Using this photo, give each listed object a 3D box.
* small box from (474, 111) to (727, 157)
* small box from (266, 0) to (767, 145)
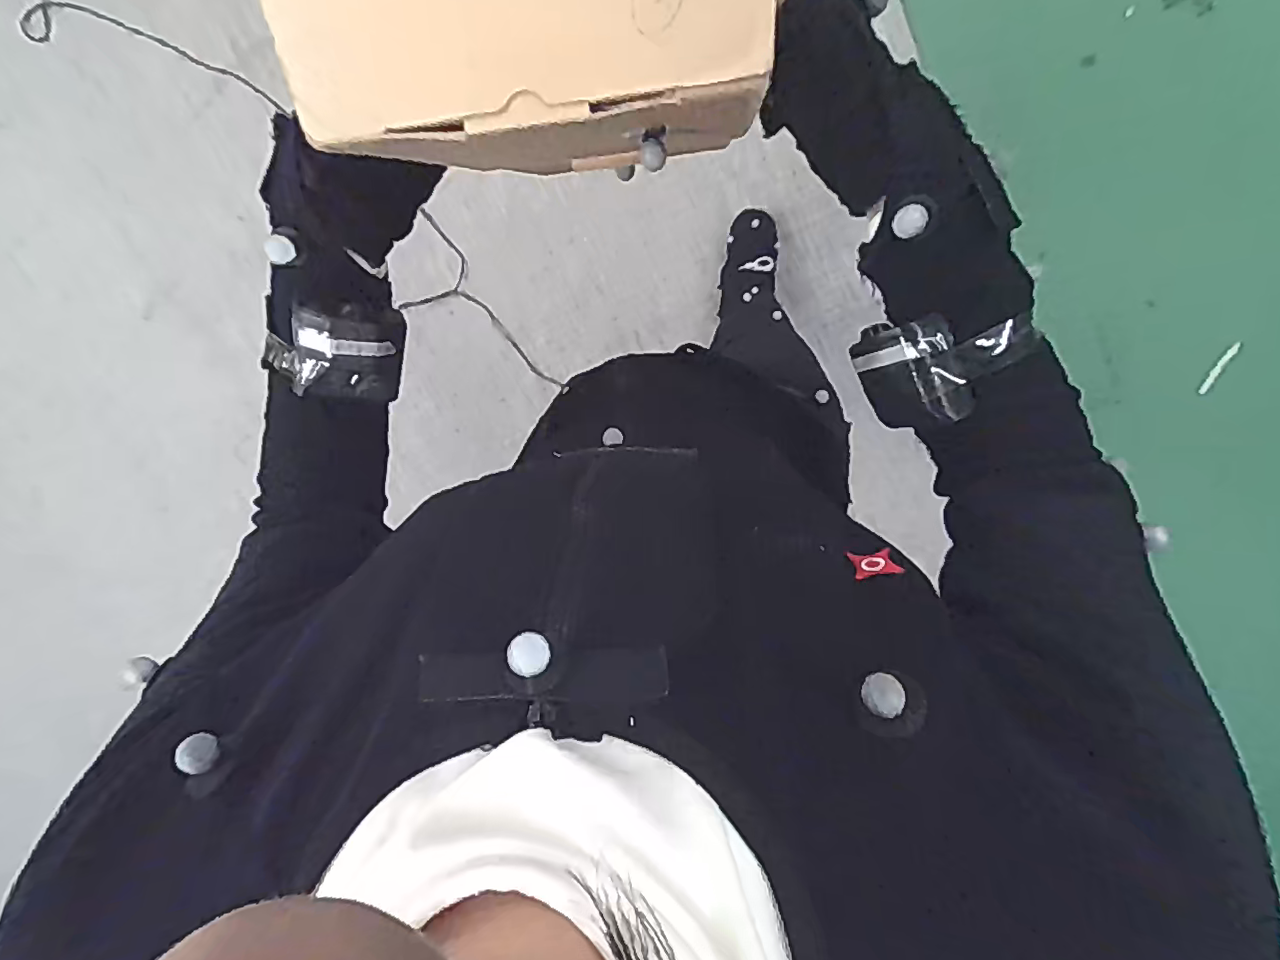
[{"bbox_3d":[-0.027,-0.324,0.357,0.168,0.176,0.179,-4,117,8],"label":"small box"},{"bbox_3d":[-0.039,-0.245,0.215,0.168,0.176,0.179,-3,115,7],"label":"small box"}]
